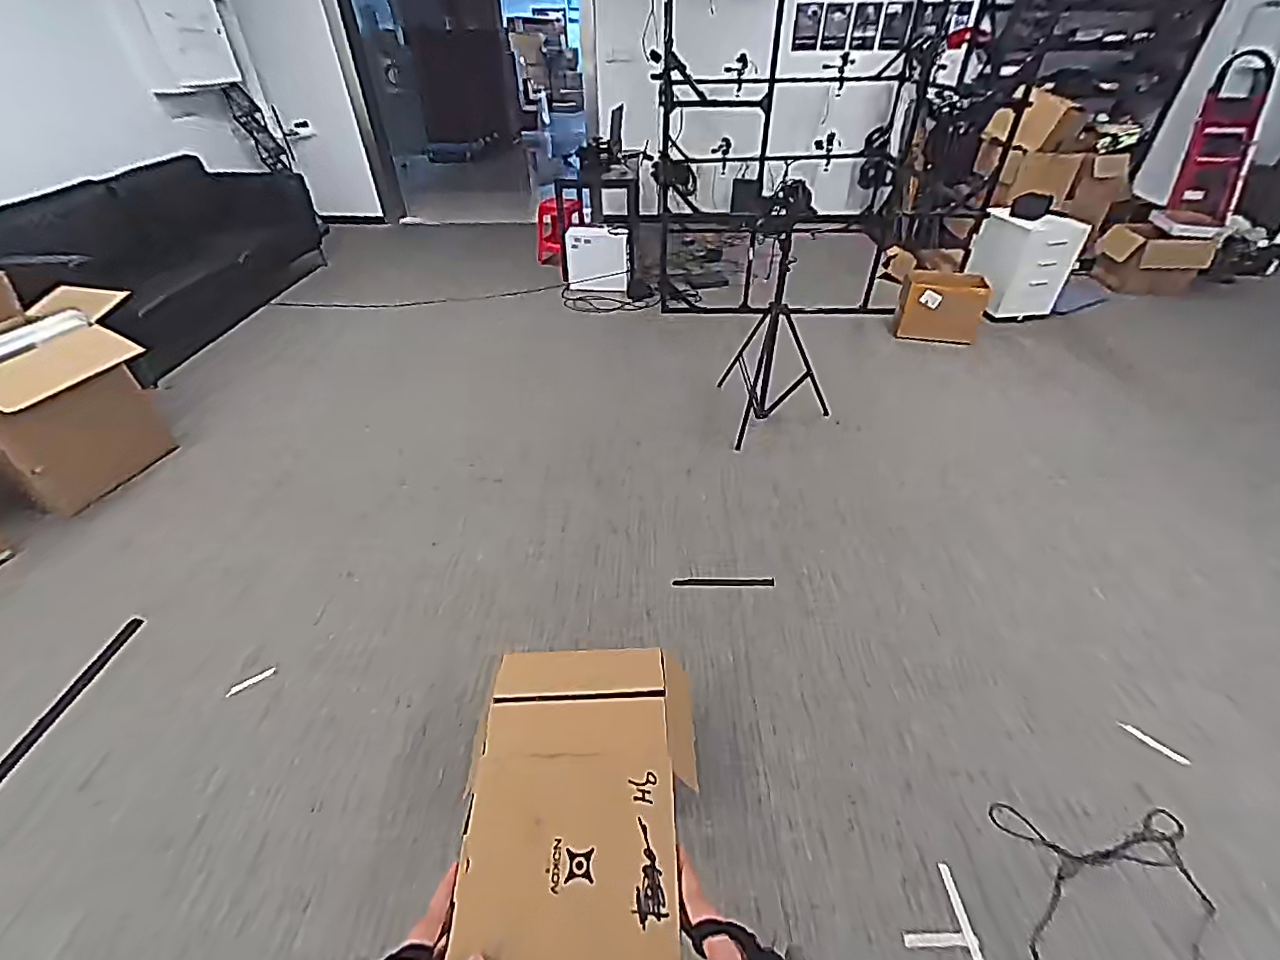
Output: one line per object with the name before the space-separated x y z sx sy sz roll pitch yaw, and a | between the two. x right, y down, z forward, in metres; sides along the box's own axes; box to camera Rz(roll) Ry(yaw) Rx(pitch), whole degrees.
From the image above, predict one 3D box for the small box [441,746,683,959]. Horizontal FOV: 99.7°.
small box | -0.057 0.354 0.486 0.179 0.176 0.168 1 47 -2
